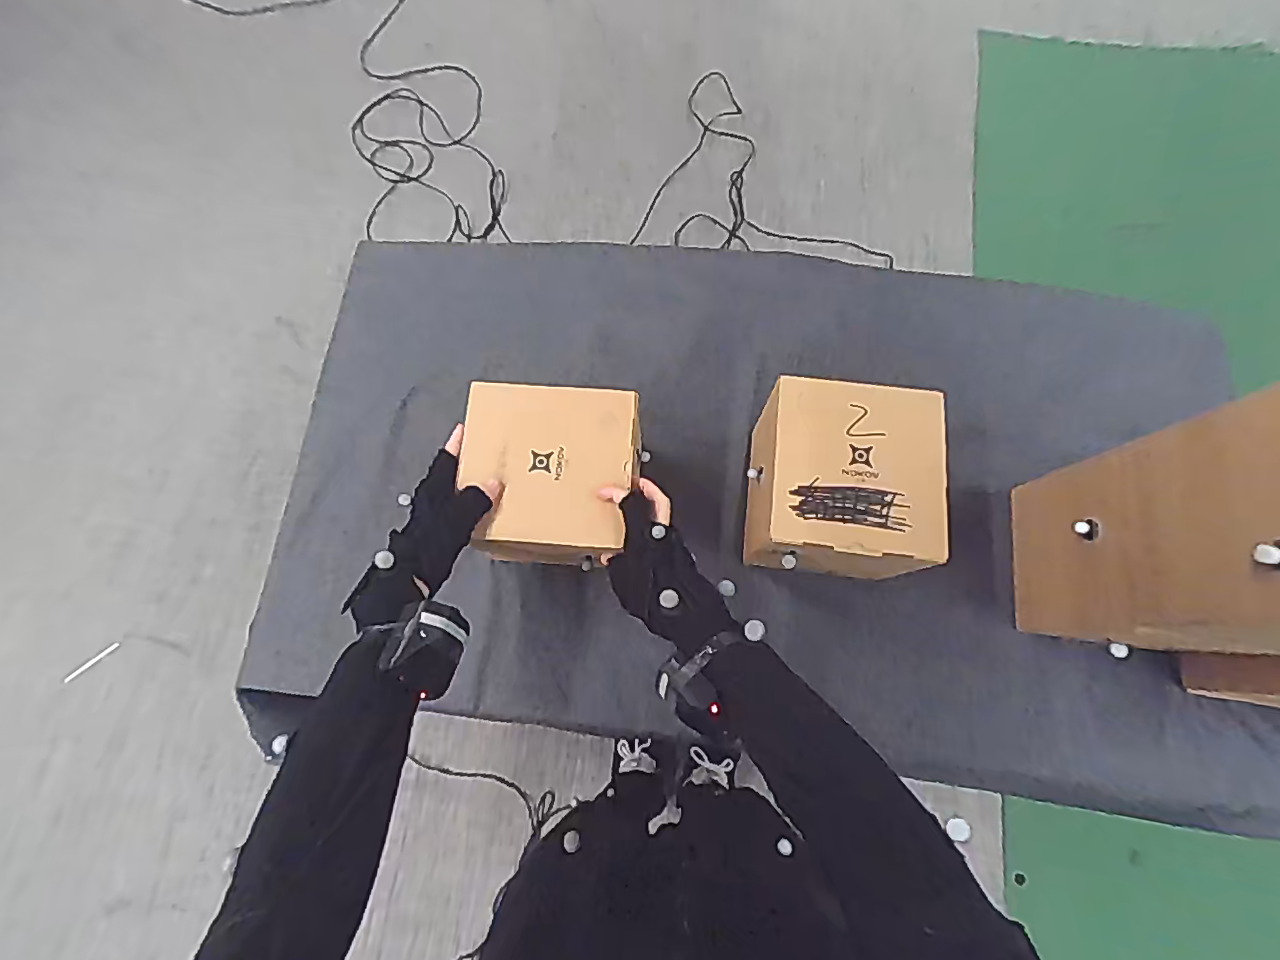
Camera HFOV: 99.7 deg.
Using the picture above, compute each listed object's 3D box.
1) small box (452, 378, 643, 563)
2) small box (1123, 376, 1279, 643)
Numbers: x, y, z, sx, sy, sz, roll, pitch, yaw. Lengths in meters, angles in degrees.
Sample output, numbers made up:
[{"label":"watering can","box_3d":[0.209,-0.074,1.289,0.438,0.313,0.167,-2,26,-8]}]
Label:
[{"label":"small box","box_3d":[-0.089,0.000,0.618,0.179,0.176,0.168,4,74,3]},{"label":"small box","box_3d":[0.529,0.035,0.420,0.168,0.176,0.179,9,74,4]}]
